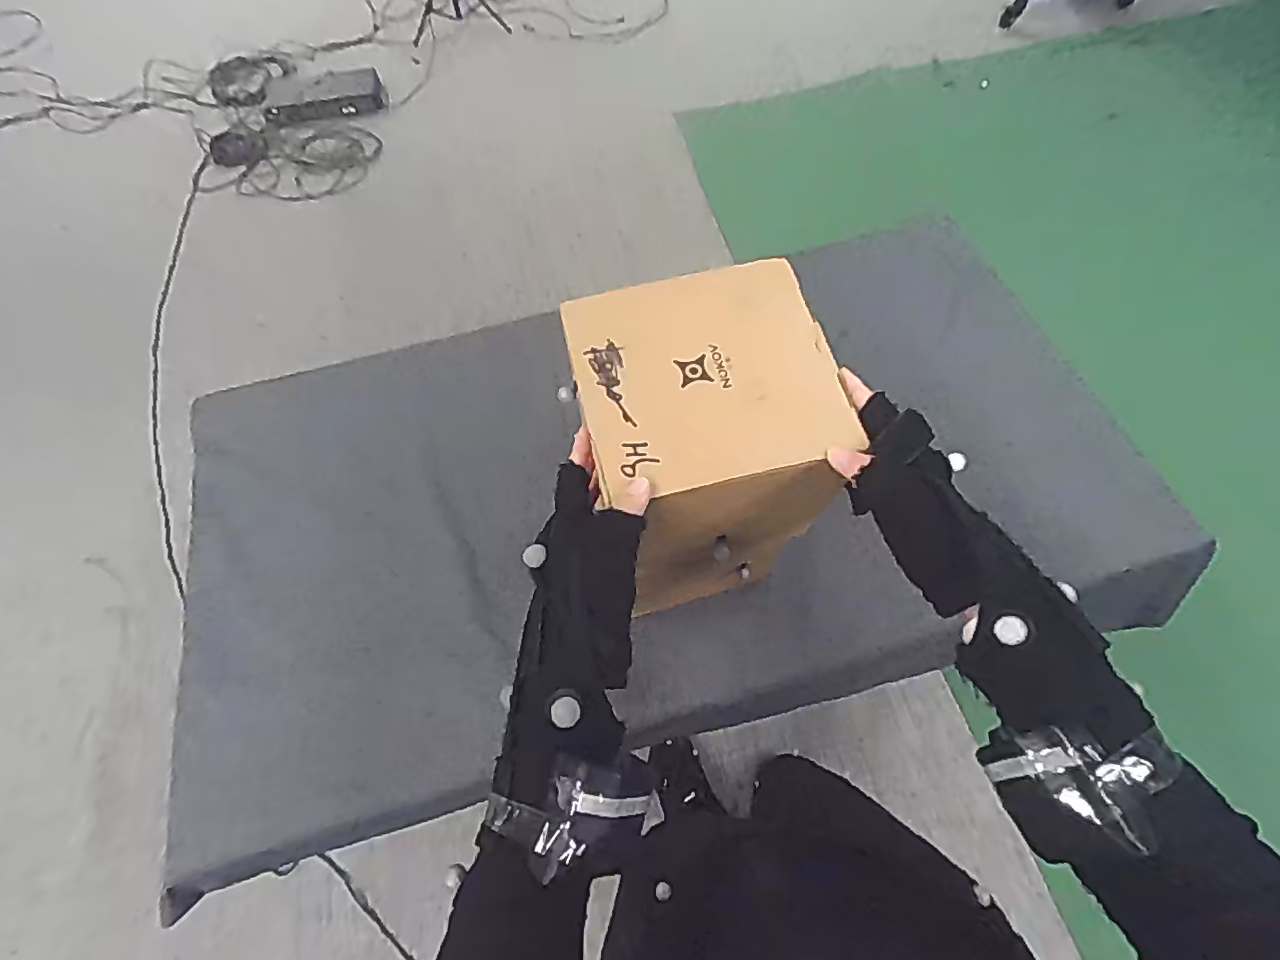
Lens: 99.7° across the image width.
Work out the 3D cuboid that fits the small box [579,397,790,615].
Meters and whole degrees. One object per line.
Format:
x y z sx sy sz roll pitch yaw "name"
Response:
0.043 0.037 0.614 0.179 0.176 0.168 -17 63 -5 "small box"
